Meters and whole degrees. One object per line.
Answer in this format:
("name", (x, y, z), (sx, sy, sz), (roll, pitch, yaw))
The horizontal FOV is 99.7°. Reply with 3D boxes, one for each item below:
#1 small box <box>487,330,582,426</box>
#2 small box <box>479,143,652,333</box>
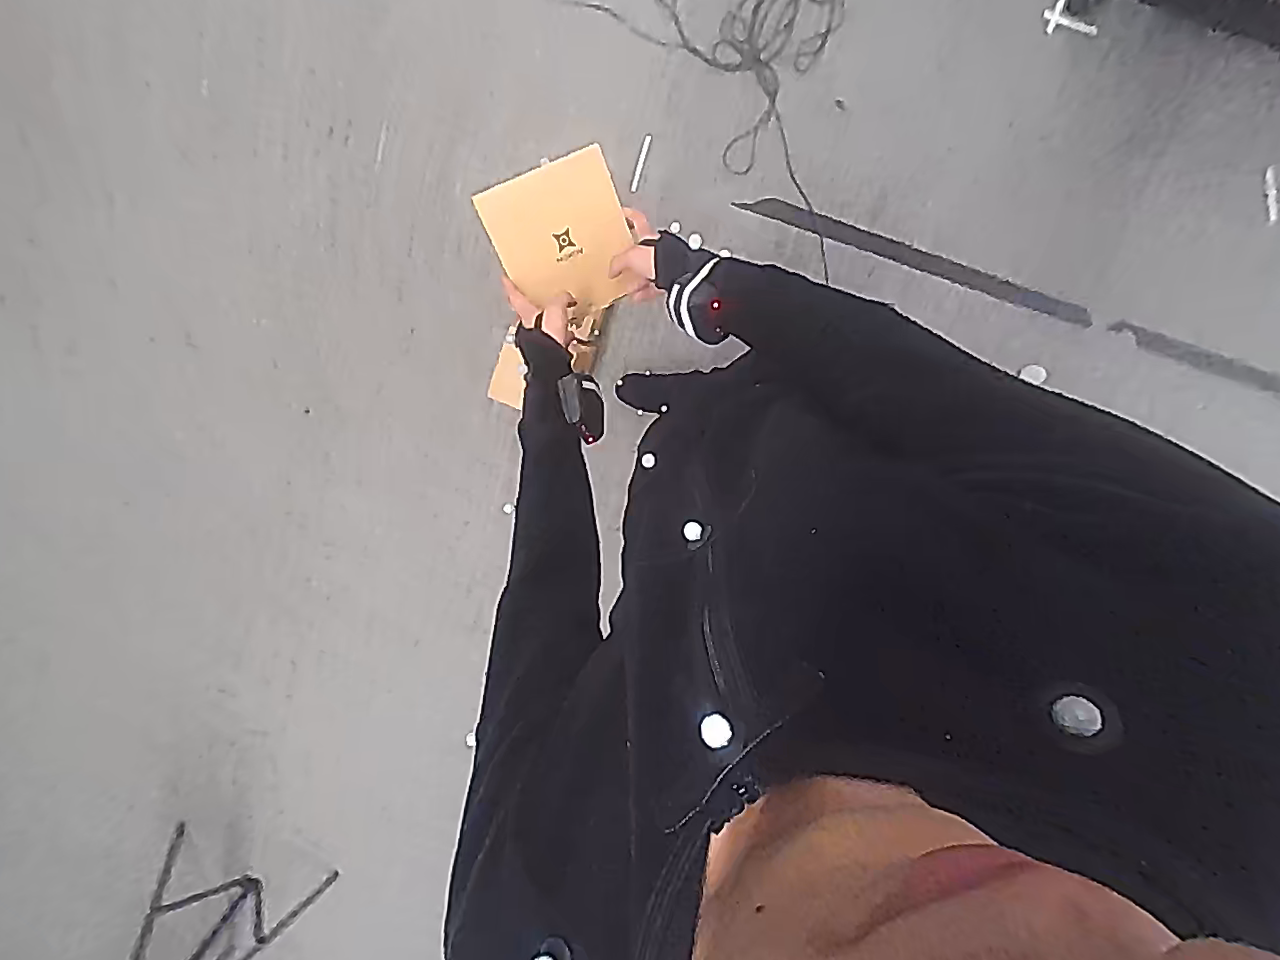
("small box", (-0.248, -0.253, 1.320), (0.168, 0.176, 0.179), (22, 105, -3))
("small box", (-0.104, -0.321, 0.736), (0.168, 0.176, 0.179), (-24, 116, -3))
